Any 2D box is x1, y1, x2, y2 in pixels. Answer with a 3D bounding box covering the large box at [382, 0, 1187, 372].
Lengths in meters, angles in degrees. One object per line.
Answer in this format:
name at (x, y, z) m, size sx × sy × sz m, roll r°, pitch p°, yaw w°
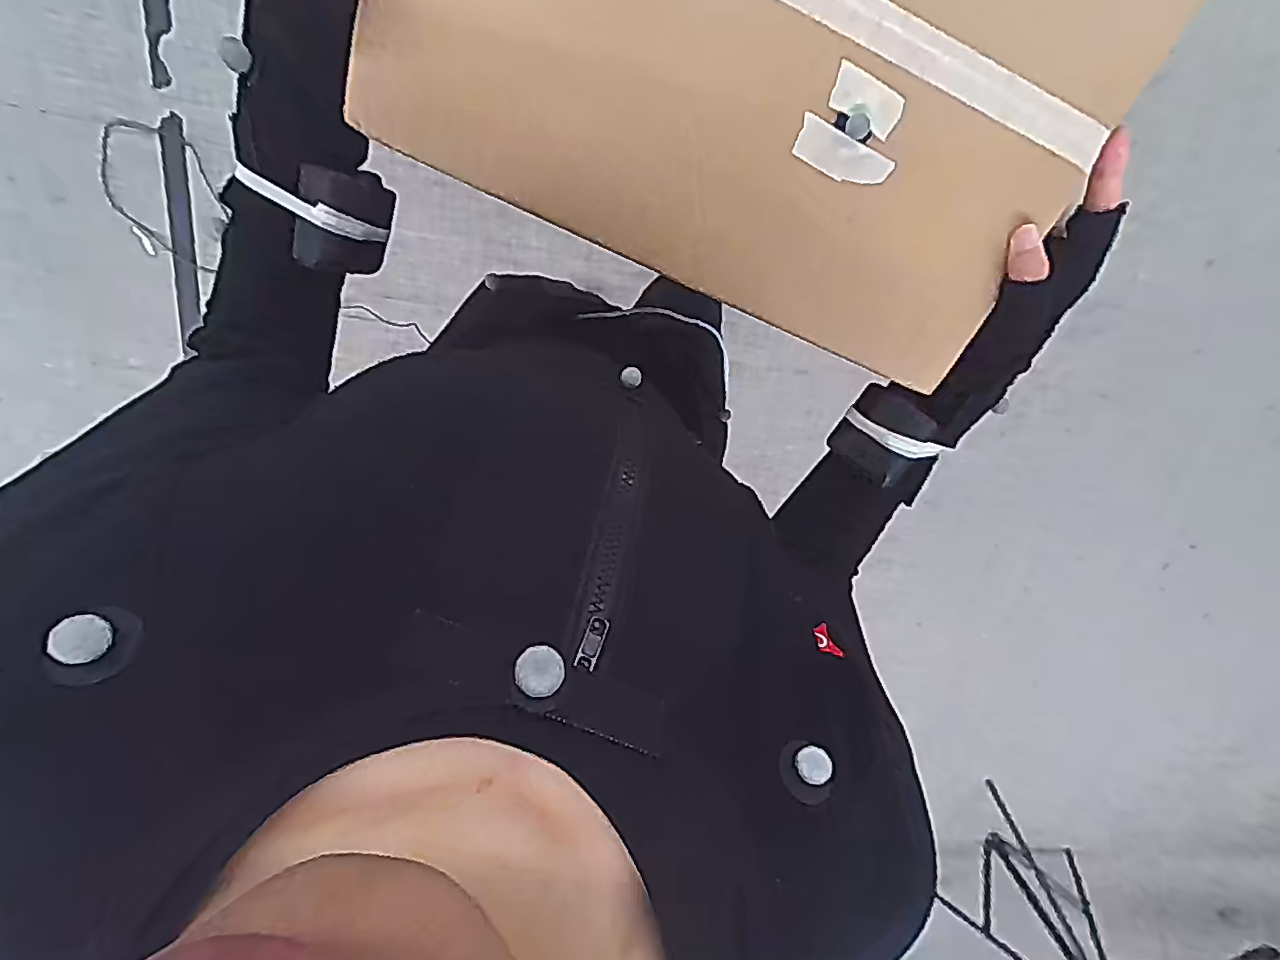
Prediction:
large box at (0.084, -0.335, 0.426) m, size 0.408 × 0.320 × 0.320 m, roll 22°, pitch 116°, yaw -10°
